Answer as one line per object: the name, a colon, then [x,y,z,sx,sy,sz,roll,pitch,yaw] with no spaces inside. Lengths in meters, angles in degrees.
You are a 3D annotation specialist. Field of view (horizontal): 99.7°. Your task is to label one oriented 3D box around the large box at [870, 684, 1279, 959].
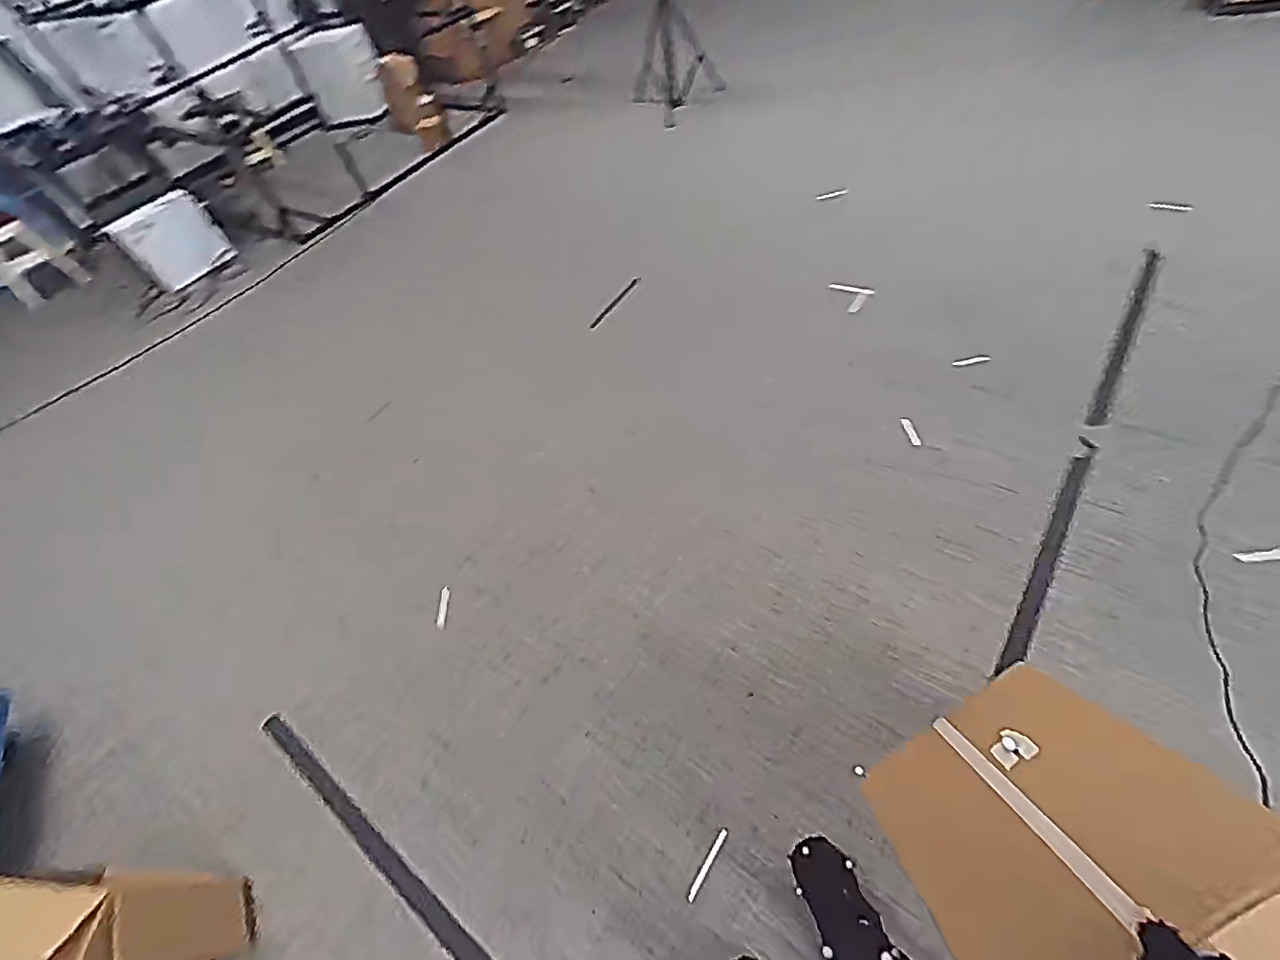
large box: [0.555,0.523,0.635,0.320,0.408,0.320,-37,88,5]
